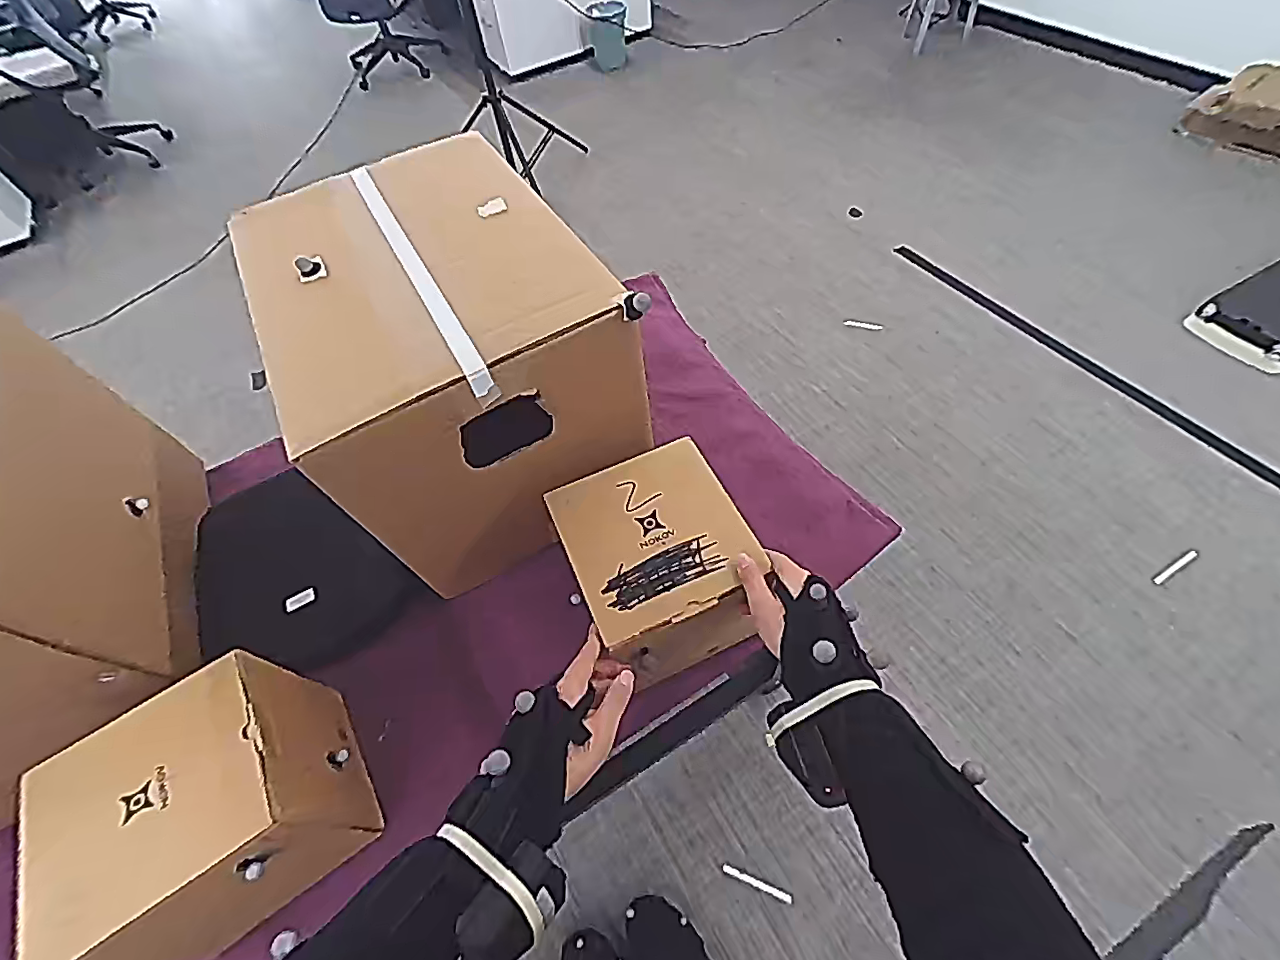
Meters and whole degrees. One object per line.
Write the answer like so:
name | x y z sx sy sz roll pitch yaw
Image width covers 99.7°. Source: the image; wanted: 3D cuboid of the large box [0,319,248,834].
large box | -0.701 0.109 0.574 0.320 0.320 0.408 -30 61 -13
